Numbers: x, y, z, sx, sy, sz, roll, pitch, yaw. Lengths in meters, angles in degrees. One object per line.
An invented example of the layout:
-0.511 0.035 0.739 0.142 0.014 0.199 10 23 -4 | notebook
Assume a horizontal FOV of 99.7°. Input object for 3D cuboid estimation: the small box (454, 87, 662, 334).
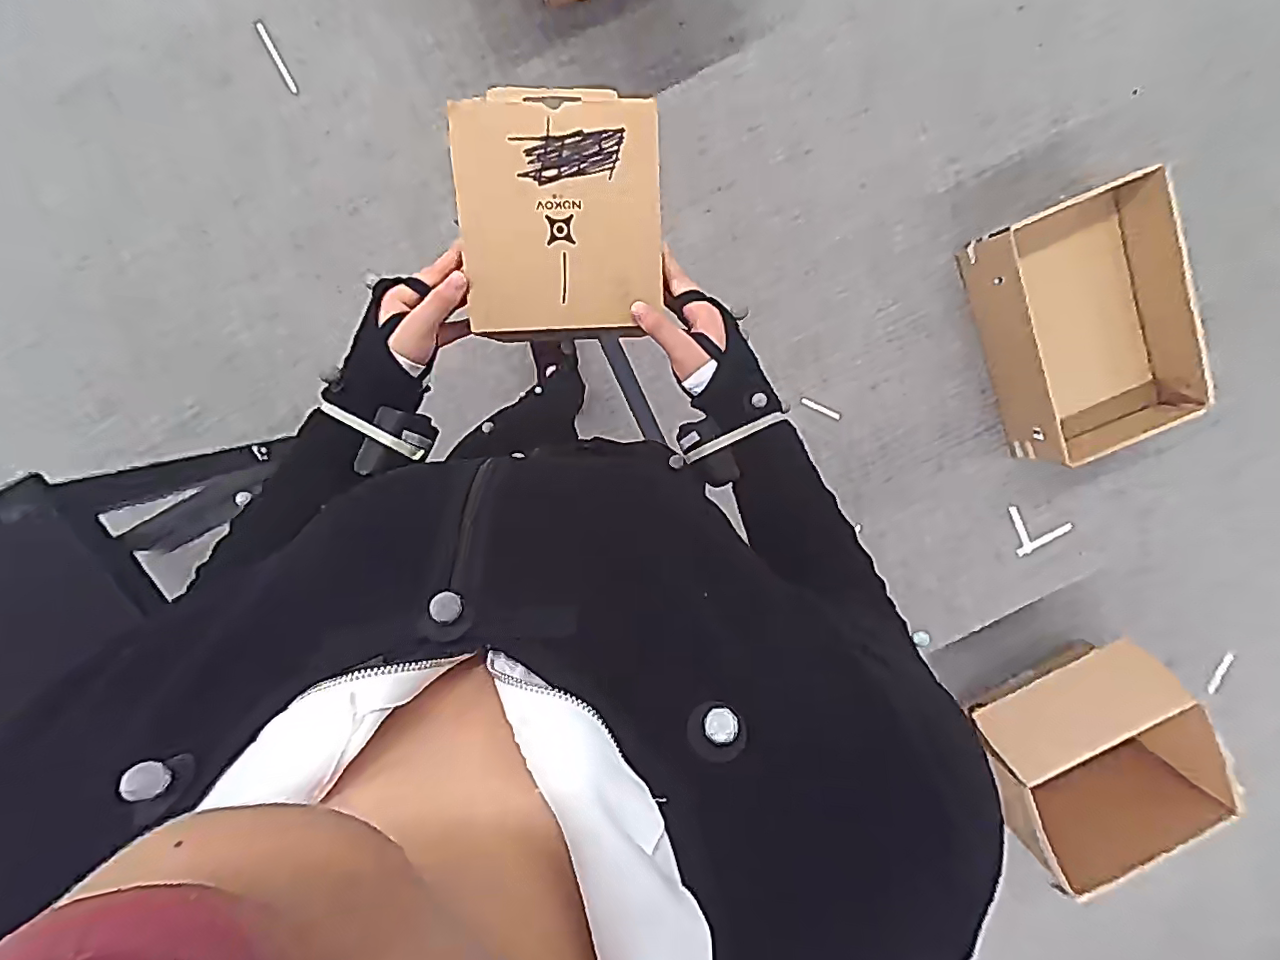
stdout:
-0.072 -0.239 0.522 0.168 0.176 0.179 -3 102 -5 | small box
